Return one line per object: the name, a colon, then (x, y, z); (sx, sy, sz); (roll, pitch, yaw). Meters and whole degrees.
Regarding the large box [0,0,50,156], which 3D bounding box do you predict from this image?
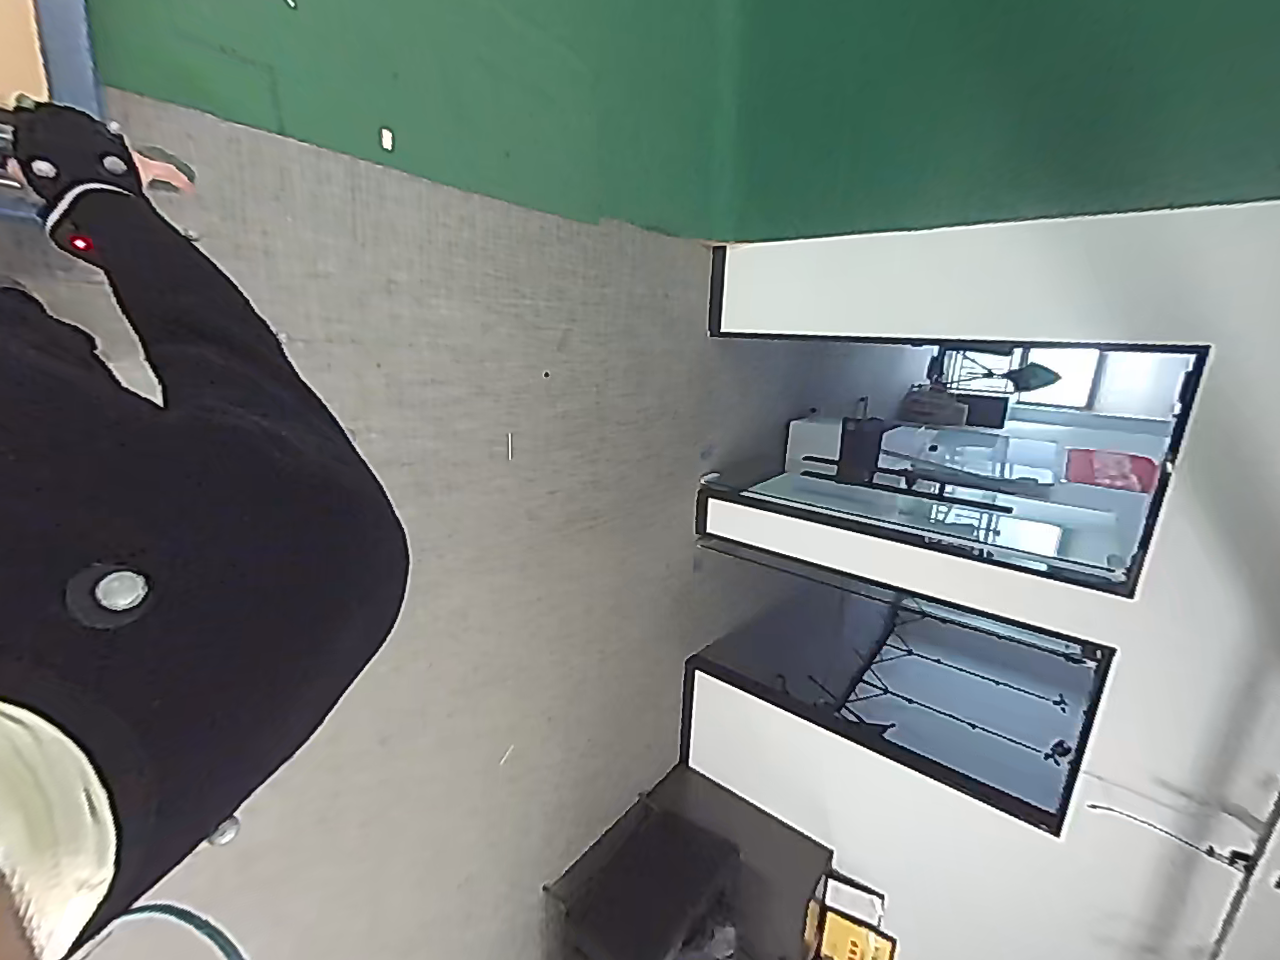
large box: (-1.037, -0.700, 0.689); (0.320, 0.320, 0.408); (-14, 111, -51)
